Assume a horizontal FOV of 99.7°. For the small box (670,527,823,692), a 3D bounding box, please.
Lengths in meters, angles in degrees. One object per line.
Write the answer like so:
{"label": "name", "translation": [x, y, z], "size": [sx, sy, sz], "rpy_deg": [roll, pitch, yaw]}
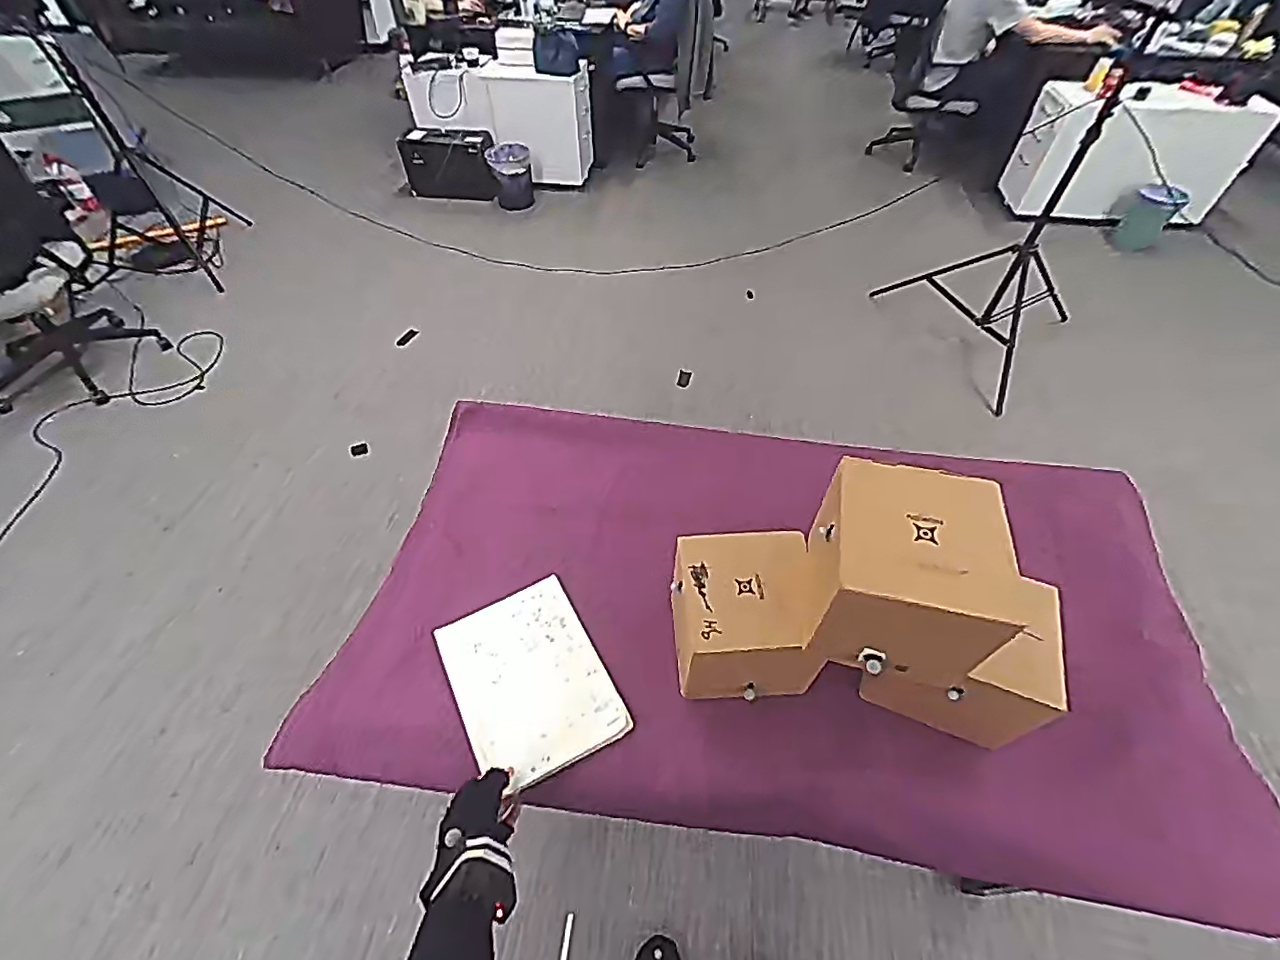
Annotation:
{"label": "small box", "translation": [0.140, 0.181, 0.746], "size": [0.179, 0.176, 0.168], "rpy_deg": [-2, 49, -3]}

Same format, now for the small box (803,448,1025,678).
{"label": "small box", "translation": [0.285, 0.093, 0.606], "size": [0.168, 0.176, 0.179], "rpy_deg": [9, 51, 10]}

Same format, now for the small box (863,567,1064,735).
{"label": "small box", "translation": [0.415, 0.210, 0.717], "size": [0.179, 0.176, 0.168], "rpy_deg": [18, 52, 15]}
